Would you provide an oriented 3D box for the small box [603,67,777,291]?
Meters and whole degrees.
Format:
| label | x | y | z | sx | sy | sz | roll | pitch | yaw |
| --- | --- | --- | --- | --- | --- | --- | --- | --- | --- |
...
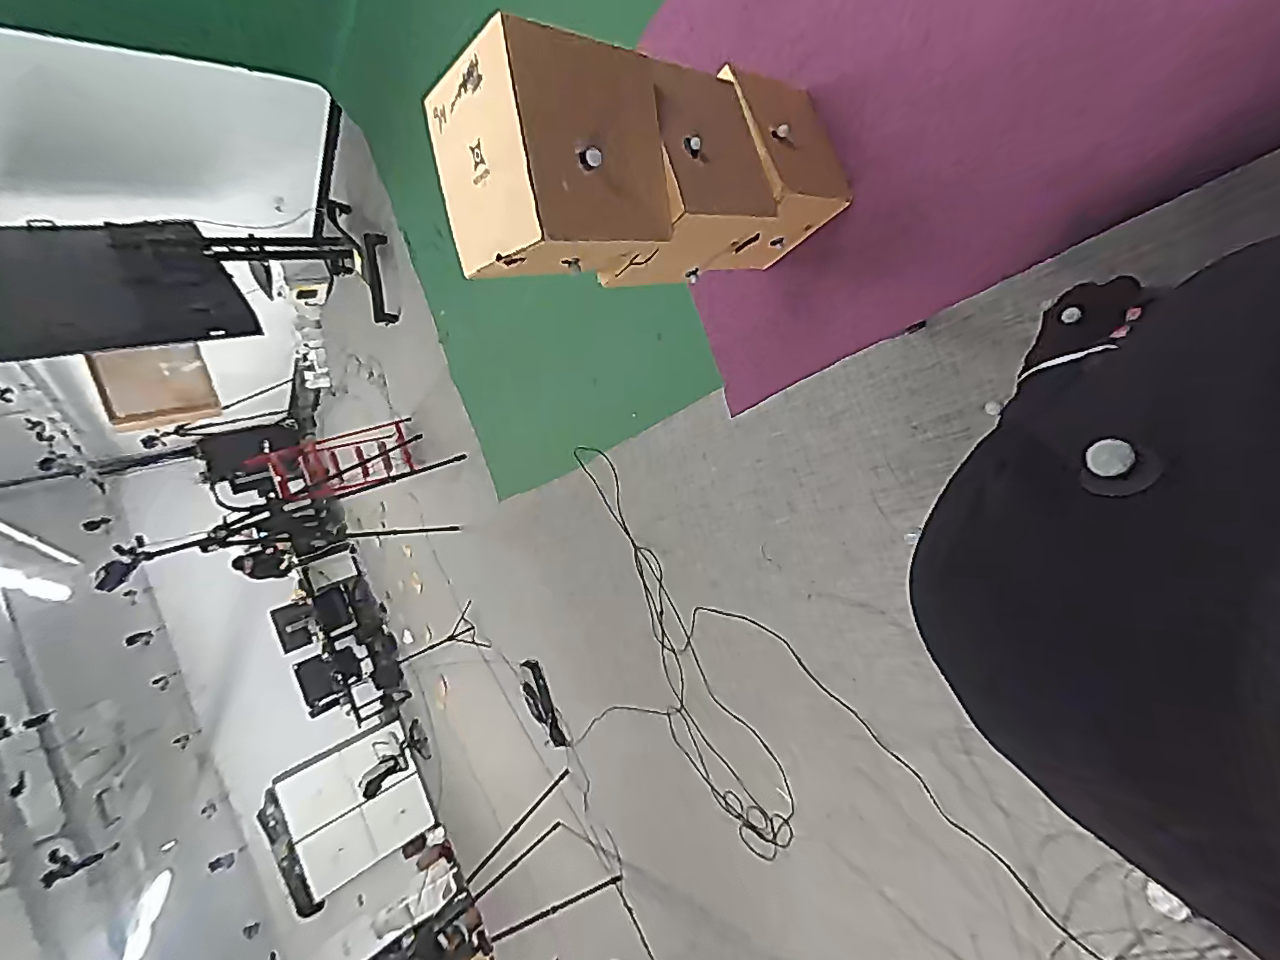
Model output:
| label | x | y | z | sx | sy | sz | roll | pitch | yaw |
| --- | --- | --- | --- | --- | --- | --- | --- | --- | --- |
| small box | 0.042 | -0.359 | 0.674 | 0.168 | 0.176 | 0.179 | -18 | 92 | 51 |

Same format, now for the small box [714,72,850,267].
| label | x | y | z | sx | sy | sz | roll | pitch | yaw |
| --- | --- | --- | --- | --- | --- | --- | --- | --- | --- |
| small box | 0.162 | -0.421 | 0.768 | 0.168 | 0.176 | 0.179 | -26 | 87 | 51 |

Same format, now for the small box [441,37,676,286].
| label | x | y | z | sx | sy | sz | roll | pitch | yaw |
| --- | --- | --- | --- | --- | --- | --- | --- | --- | --- |
| small box | -0.079 | -0.316 | 0.572 | 0.168 | 0.176 | 0.179 | 8 | 113 | 47 |
